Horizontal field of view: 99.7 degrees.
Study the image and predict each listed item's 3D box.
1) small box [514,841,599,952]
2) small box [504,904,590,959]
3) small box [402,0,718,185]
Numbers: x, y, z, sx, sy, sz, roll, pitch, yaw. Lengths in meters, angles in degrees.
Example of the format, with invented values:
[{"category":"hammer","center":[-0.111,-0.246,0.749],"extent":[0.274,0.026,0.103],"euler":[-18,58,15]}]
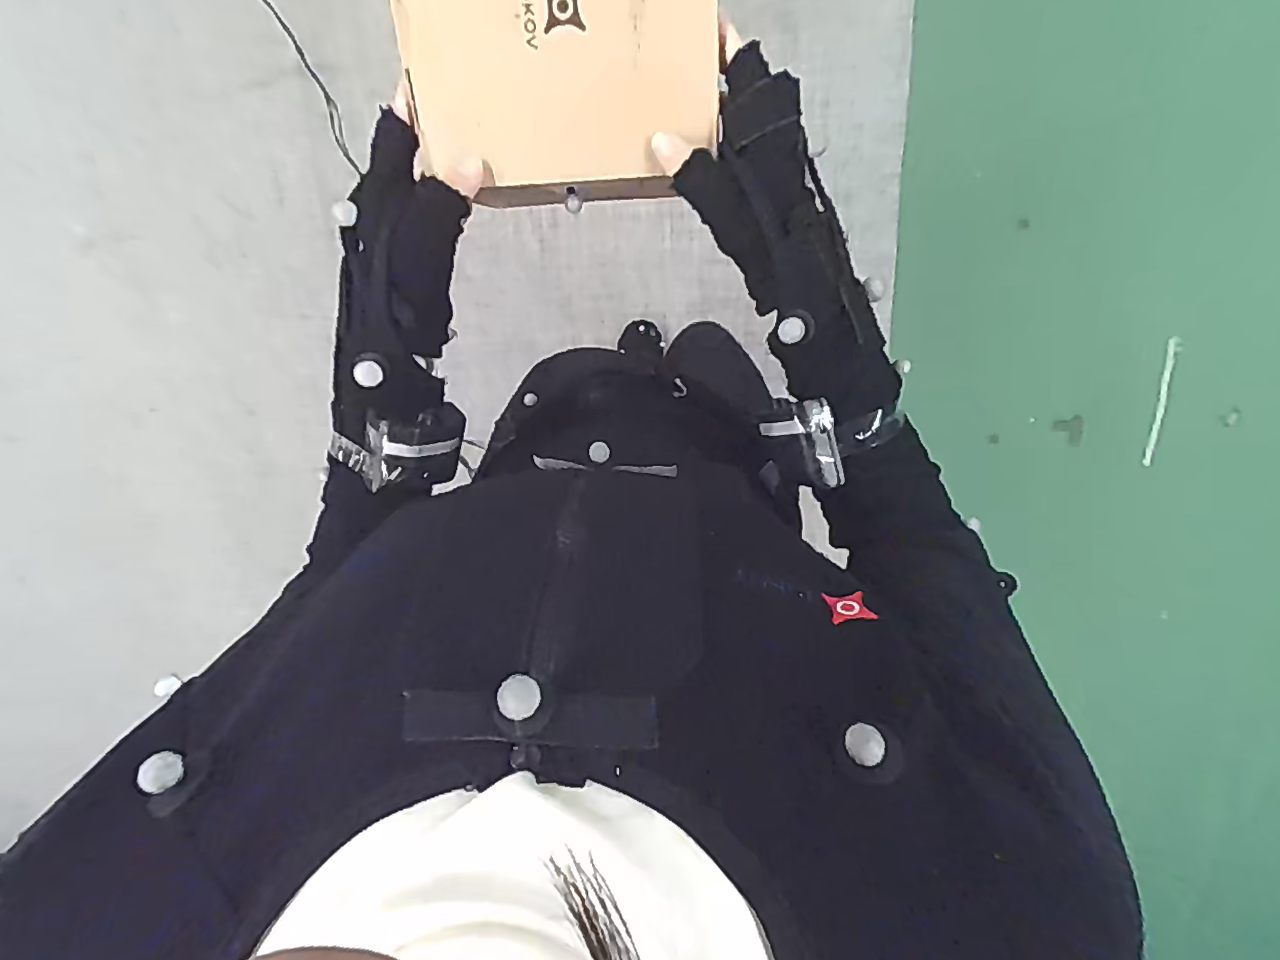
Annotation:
[{"category":"small box","center":[-0.204,1.052,1.372],"extent":[0.179,0.176,0.168],"euler":[-4,105,2]},{"category":"small box","center":[-0.210,1.096,1.215],"extent":[0.168,0.176,0.179],"euler":[-4,105,3]},{"category":"small box","center":[-0.046,-0.304,0.365],"extent":[0.179,0.176,0.168],"euler":[-4,115,0]}]
